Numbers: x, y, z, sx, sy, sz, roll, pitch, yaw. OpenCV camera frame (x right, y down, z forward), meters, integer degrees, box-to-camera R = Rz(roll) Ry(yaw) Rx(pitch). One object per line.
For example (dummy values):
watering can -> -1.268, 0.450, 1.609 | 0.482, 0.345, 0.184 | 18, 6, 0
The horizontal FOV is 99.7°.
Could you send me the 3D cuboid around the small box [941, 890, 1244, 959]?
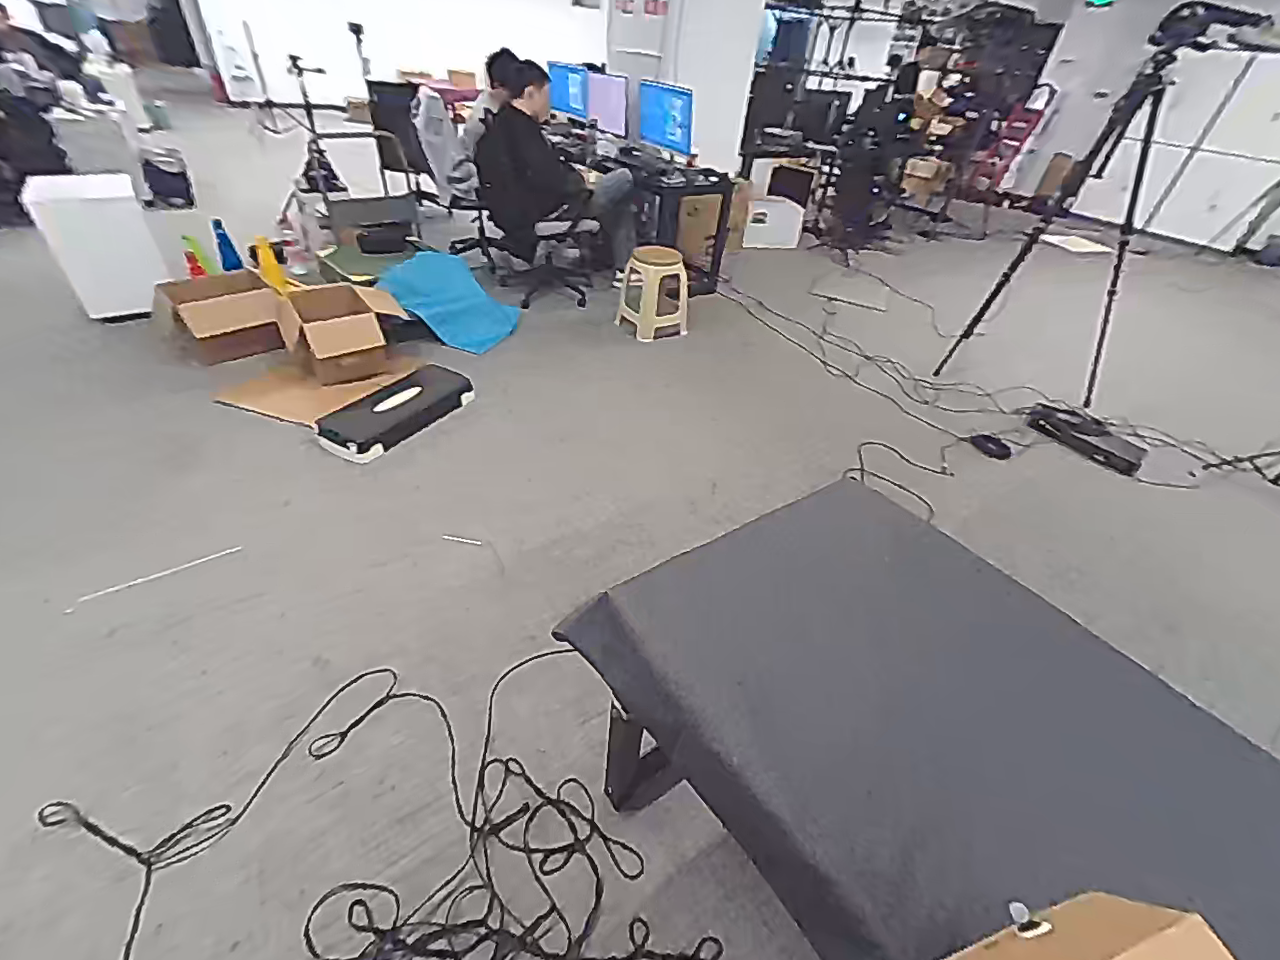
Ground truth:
small box -> 0.343, 0.420, 0.370 | 0.168, 0.176, 0.179 | -25, 55, -3
